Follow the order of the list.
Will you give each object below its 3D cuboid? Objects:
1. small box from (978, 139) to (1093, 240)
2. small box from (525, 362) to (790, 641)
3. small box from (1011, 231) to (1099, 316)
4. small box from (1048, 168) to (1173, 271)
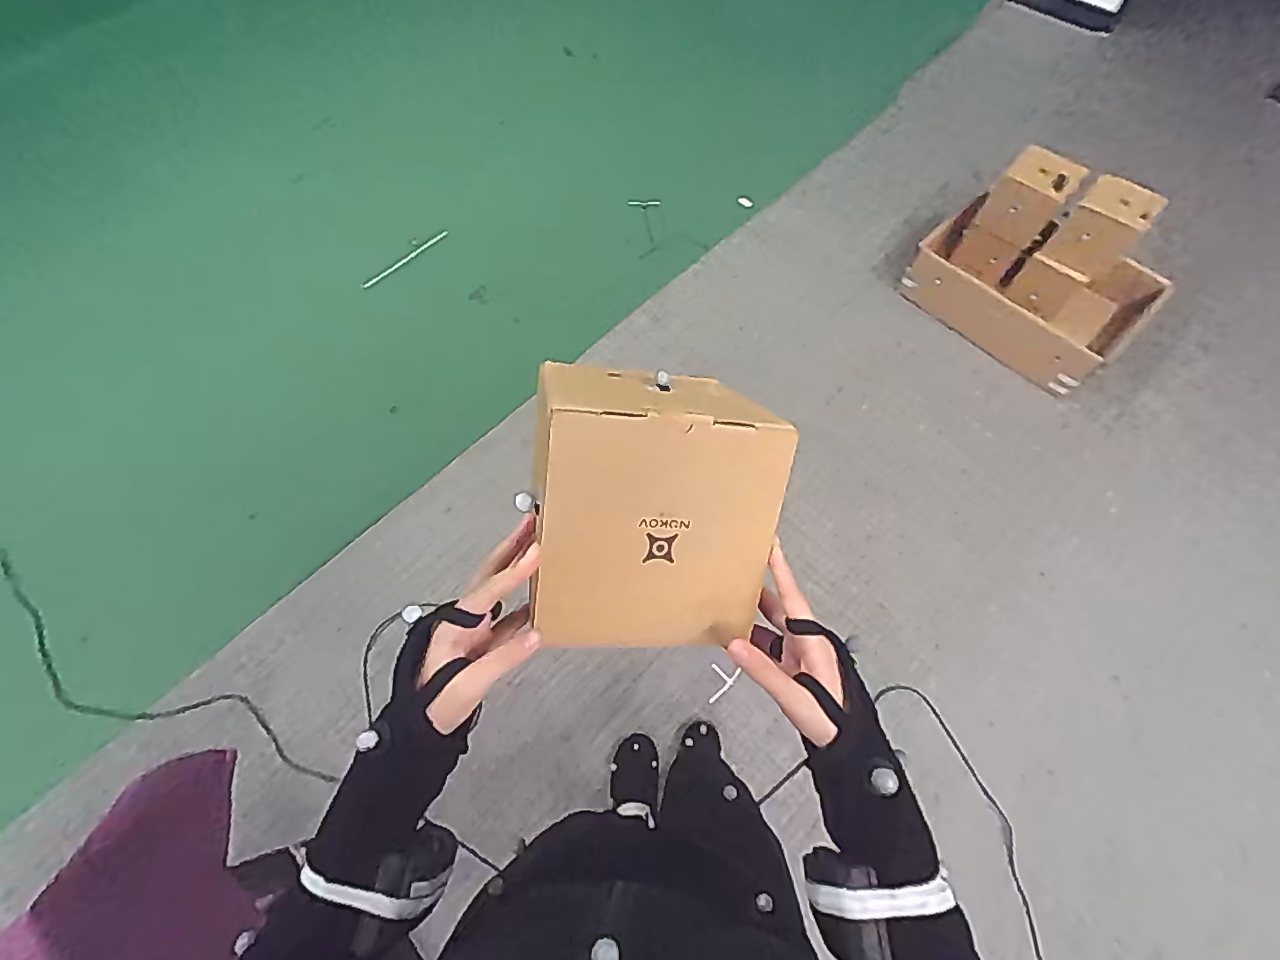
[{"bbox_3d":[1.131,-0.829,1.559,0.179,0.176,0.168,39,75,18],"label":"small box"},{"bbox_3d":[-0.003,0.009,0.444,0.168,0.176,0.179,3,109,-12],"label":"small box"},{"bbox_3d":[1.286,-0.643,1.648,0.179,0.176,0.168,-42,68,-13],"label":"small box"},{"bbox_3d":[1.294,-0.717,1.501,0.179,0.176,0.168,38,73,20],"label":"small box"}]
